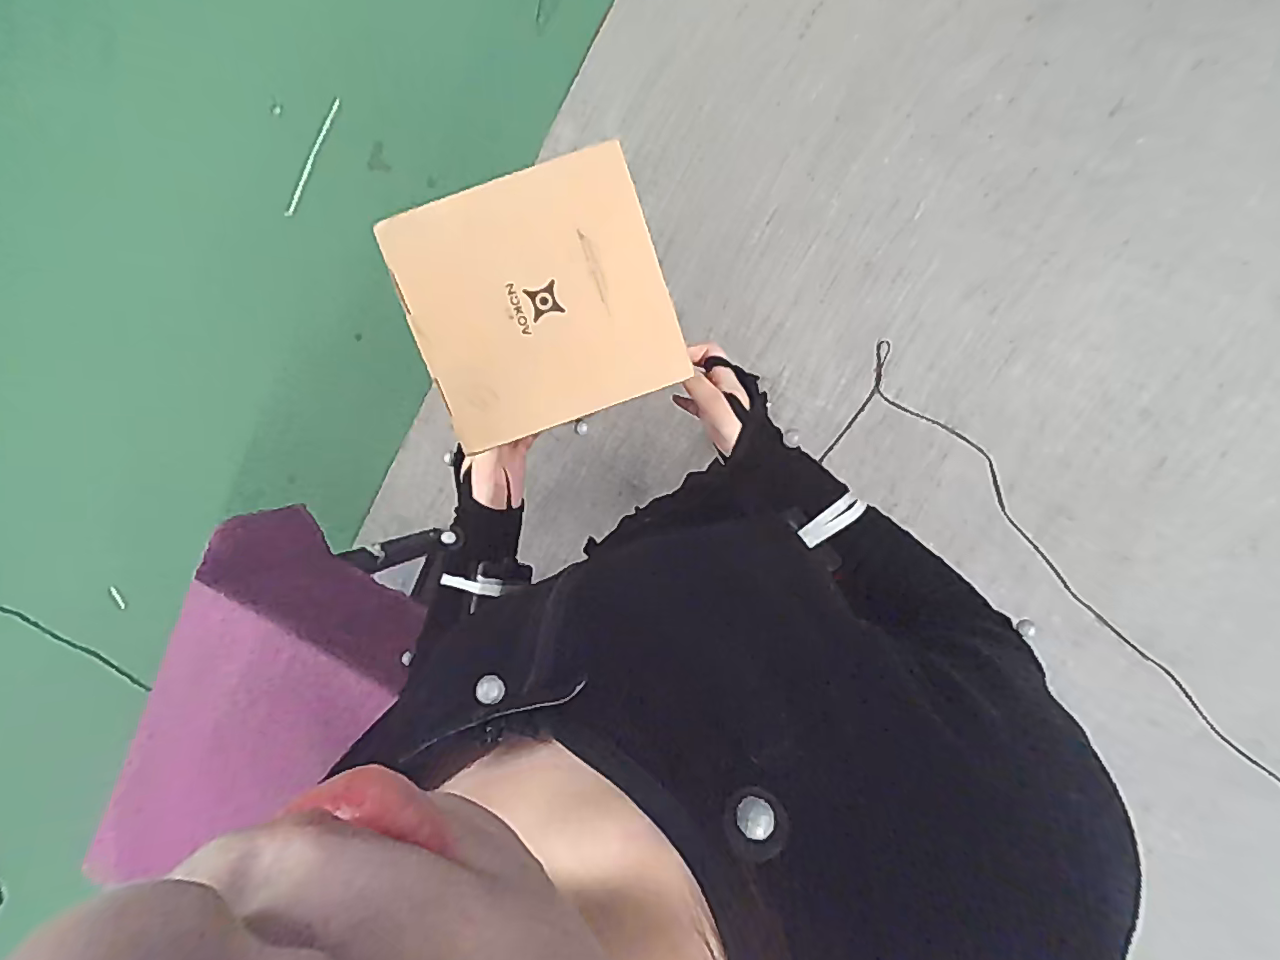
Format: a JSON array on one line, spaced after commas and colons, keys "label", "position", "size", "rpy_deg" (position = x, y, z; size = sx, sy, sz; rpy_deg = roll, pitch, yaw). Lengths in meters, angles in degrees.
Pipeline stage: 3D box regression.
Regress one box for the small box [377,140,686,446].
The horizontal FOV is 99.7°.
[{"label": "small box", "position": [-0.074, -0.136, 0.451], "size": [0.179, 0.176, 0.168], "rpy_deg": [-19, 100, 0]}]
